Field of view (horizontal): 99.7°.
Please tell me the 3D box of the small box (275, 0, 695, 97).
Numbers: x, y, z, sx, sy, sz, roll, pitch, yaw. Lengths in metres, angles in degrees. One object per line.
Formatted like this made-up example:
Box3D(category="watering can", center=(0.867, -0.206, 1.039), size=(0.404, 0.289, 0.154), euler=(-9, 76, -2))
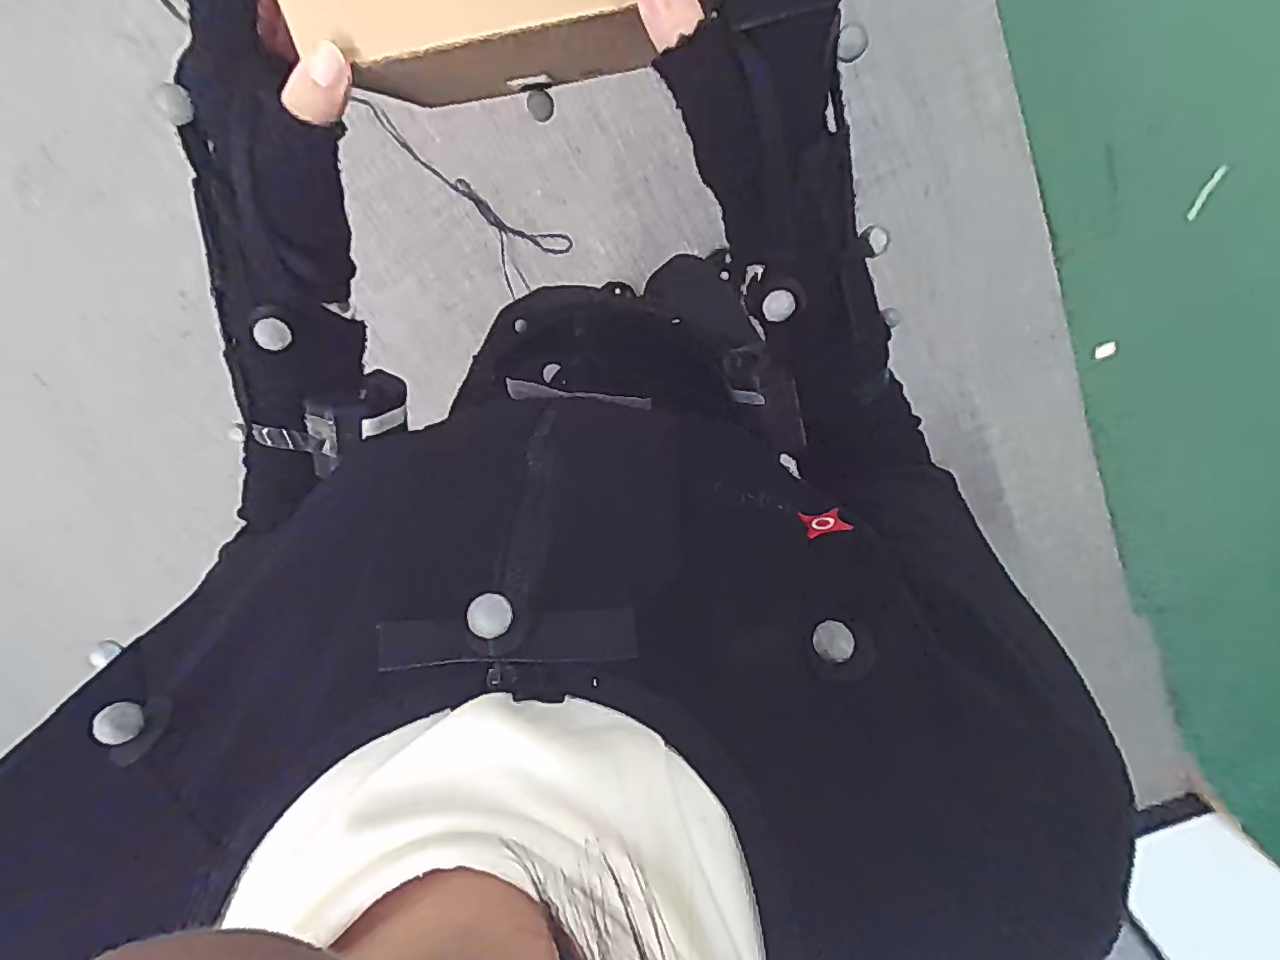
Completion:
Box3D(category="small box", center=(-0.068, -0.292, 0.231), size=(0.168, 0.176, 0.179), euler=(-9, 120, 5))
